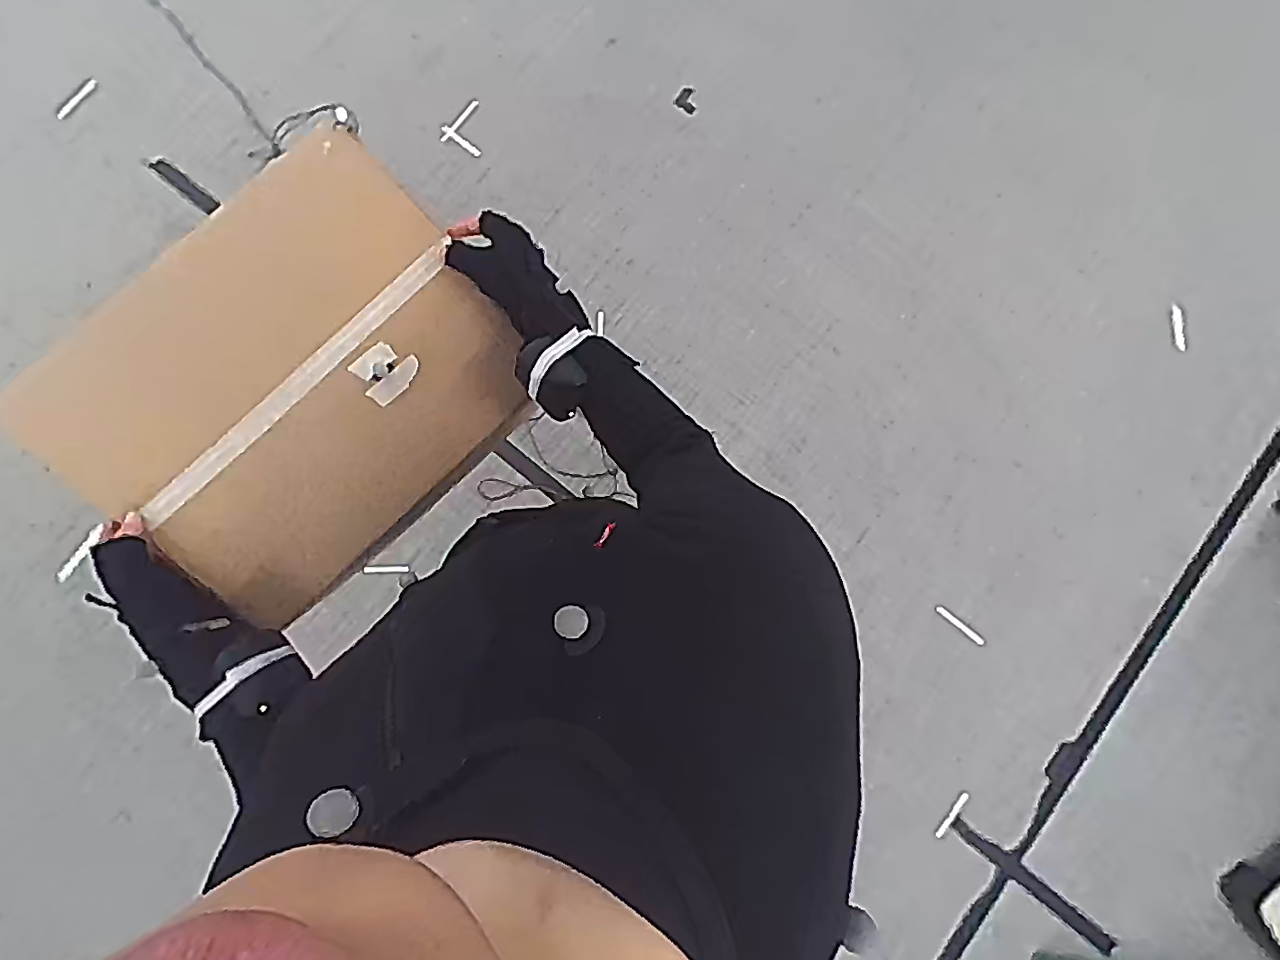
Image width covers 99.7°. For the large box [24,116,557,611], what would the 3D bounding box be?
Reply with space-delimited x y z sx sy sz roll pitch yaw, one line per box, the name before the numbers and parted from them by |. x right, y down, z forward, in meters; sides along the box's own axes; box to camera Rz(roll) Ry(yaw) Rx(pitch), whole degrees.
large box | -0.355 -0.119 0.682 0.408 0.320 0.320 -44 102 -4
